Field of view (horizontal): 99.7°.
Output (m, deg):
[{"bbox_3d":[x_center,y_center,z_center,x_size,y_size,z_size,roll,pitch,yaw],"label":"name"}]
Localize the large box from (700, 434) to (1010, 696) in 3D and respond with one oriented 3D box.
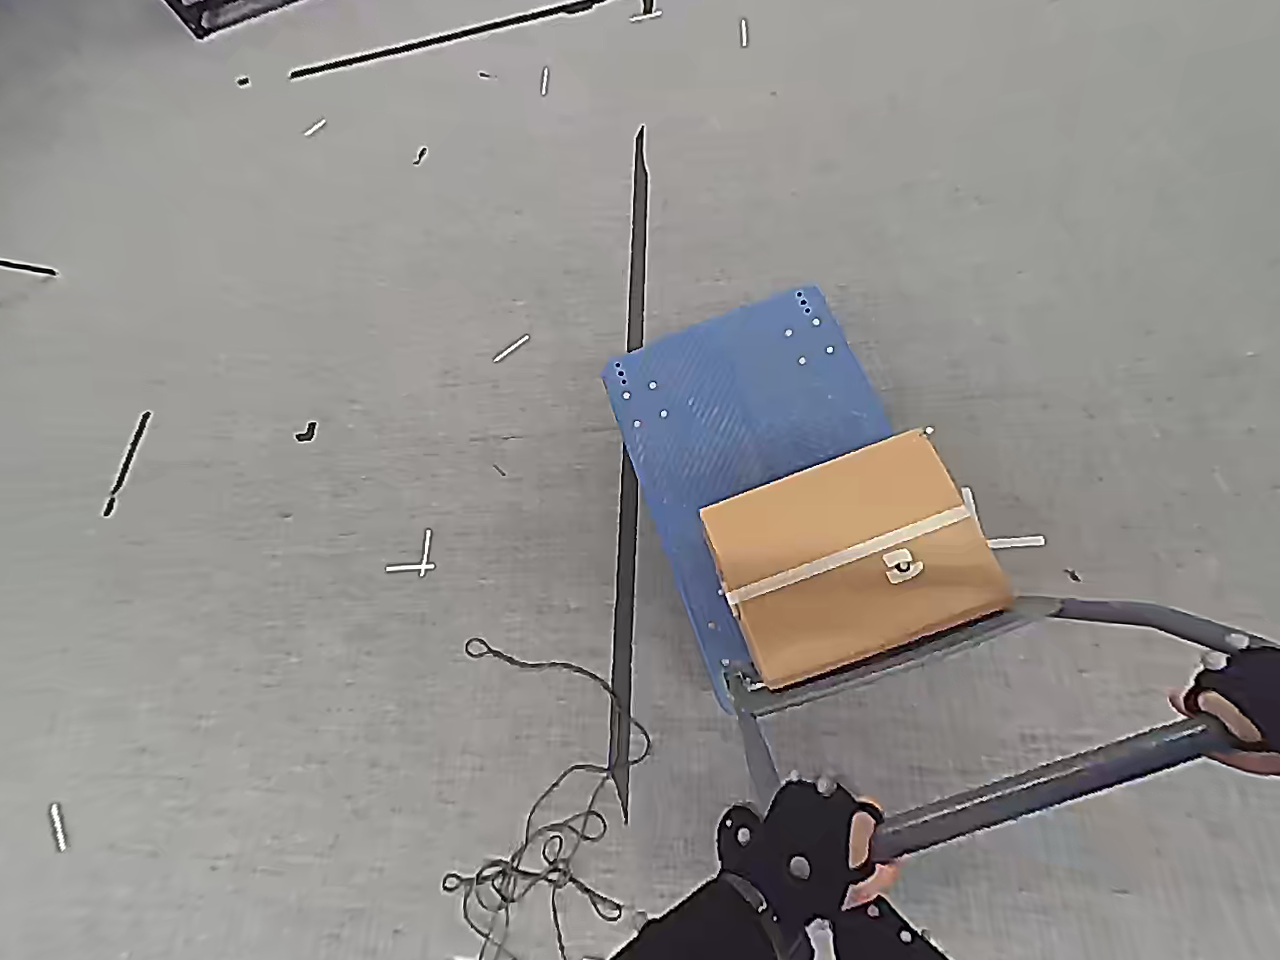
[{"bbox_3d":[0.355,0.168,1.018,0.408,0.320,0.320,-21,75,2],"label":"large box"}]
